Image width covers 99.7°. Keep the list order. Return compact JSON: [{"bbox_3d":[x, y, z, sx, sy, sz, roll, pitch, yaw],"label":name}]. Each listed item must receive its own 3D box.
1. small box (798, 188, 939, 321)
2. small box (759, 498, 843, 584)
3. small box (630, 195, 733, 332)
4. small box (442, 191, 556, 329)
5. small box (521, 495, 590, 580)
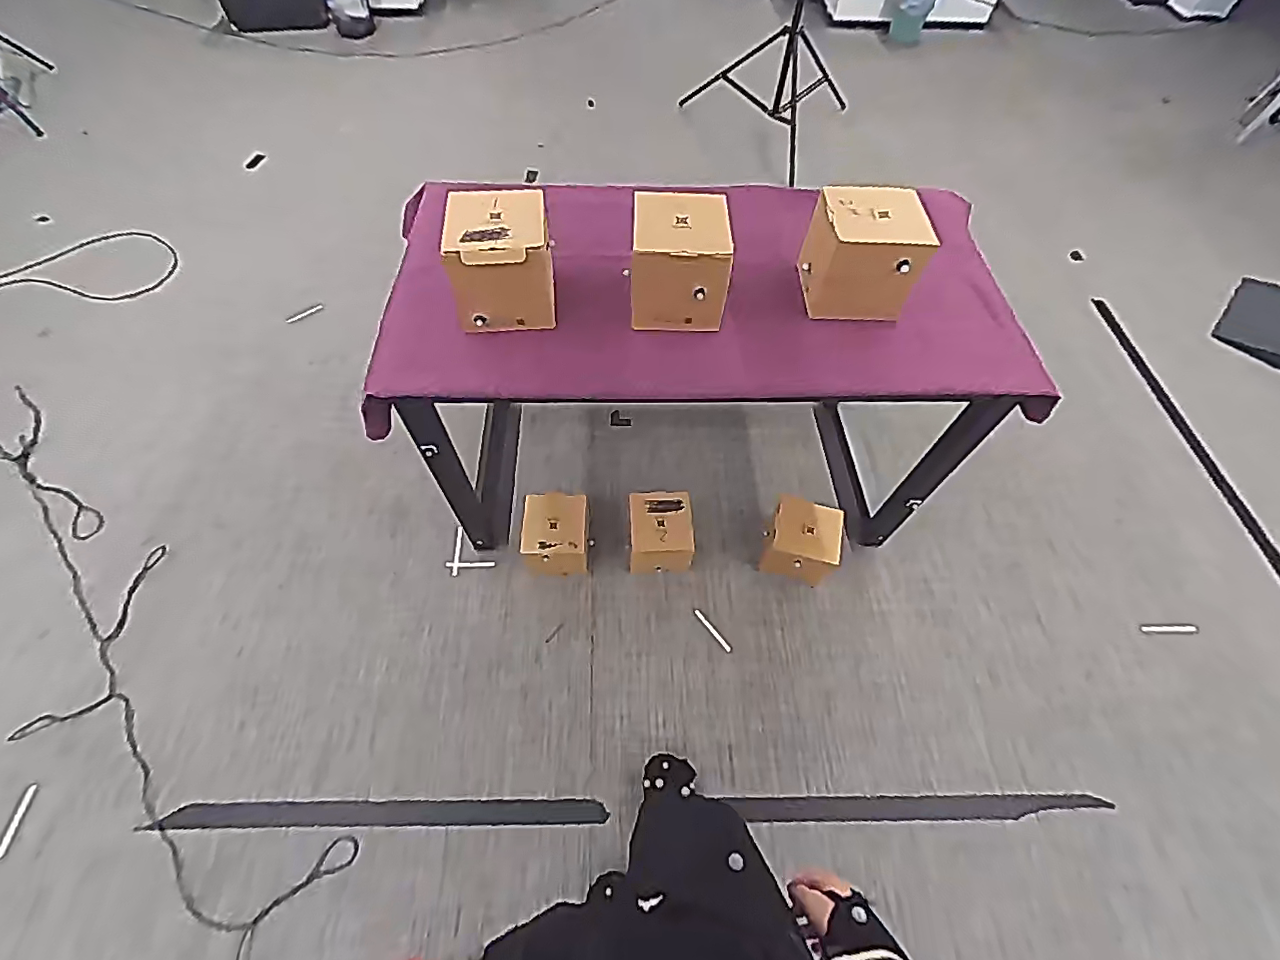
[{"bbox_3d":[0.415,-0.417,1.013,0.179,0.176,0.168,1,58,-1],"label":"small box"},{"bbox_3d":[0.447,0.175,1.512,0.179,0.176,0.168,14,60,8],"label":"small box"},{"bbox_3d":[0.069,-0.390,0.987,0.168,0.176,0.179,1,57,-3],"label":"small box"},{"bbox_3d":[-0.243,-0.387,0.970,0.168,0.176,0.179,-4,57,-5],"label":"small box"},{"bbox_3d":[-0.226,0.161,1.495,0.168,0.176,0.179,2,57,-1],"label":"small box"}]
